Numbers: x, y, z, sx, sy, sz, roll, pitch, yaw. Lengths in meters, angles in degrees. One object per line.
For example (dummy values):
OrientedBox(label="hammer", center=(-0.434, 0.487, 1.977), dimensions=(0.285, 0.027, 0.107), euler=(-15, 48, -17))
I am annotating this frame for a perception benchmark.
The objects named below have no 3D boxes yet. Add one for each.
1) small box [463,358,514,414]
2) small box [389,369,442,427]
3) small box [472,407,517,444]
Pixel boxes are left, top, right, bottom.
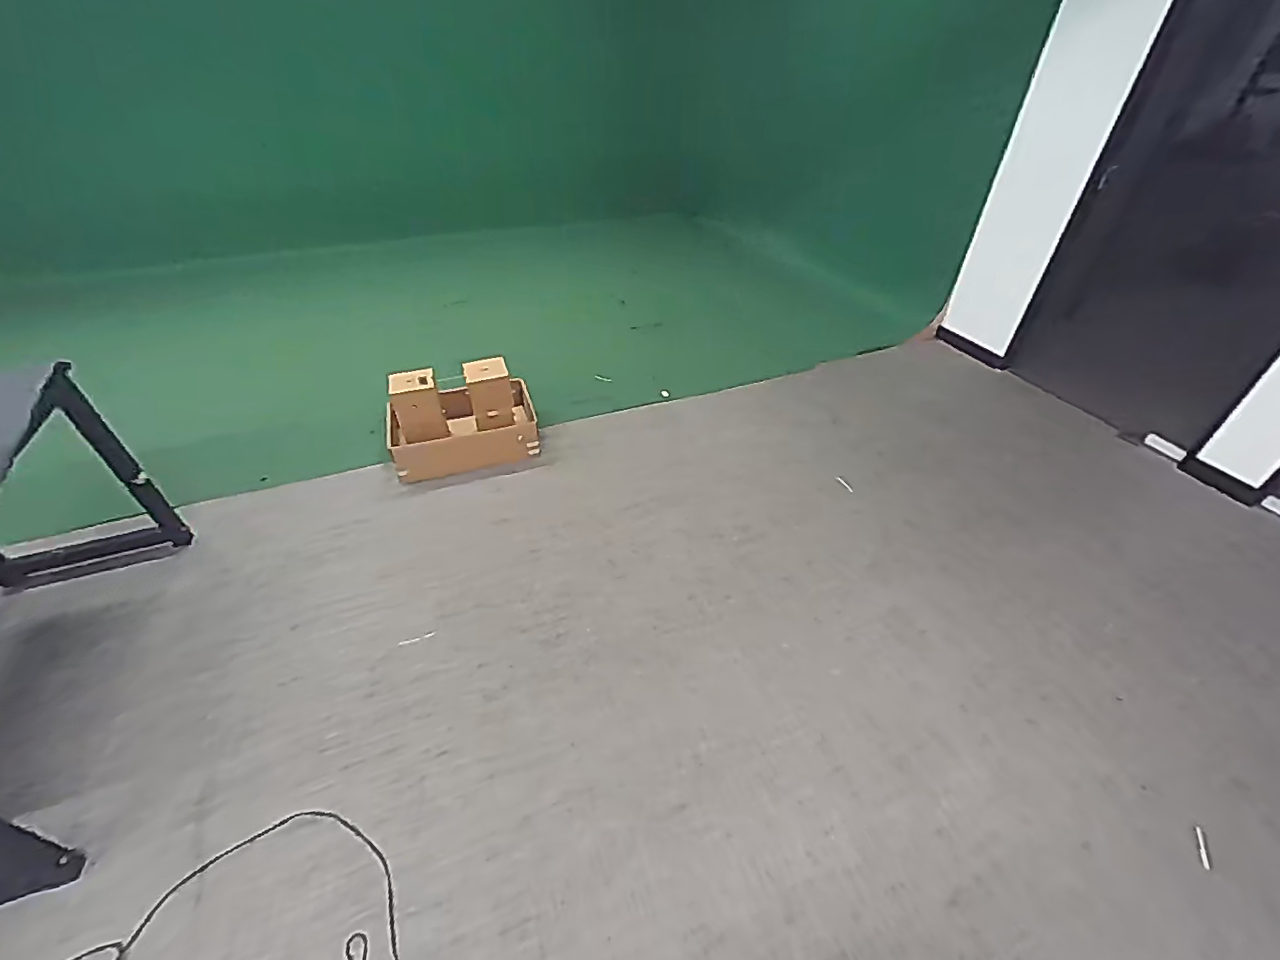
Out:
OrientedBox(label="small box", center=(-0.655, -0.405, 2.342), dimensions=(0.179, 0.176, 0.168), euler=(-14, 45, -16))
OrientedBox(label="small box", center=(-0.935, -0.342, 2.259), dimensions=(0.179, 0.176, 0.168), euler=(-12, 42, -14))
OrientedBox(label="small box", center=(-0.659, -0.276, 2.442), dimensions=(0.168, 0.176, 0.179), euler=(-12, 43, -13))
